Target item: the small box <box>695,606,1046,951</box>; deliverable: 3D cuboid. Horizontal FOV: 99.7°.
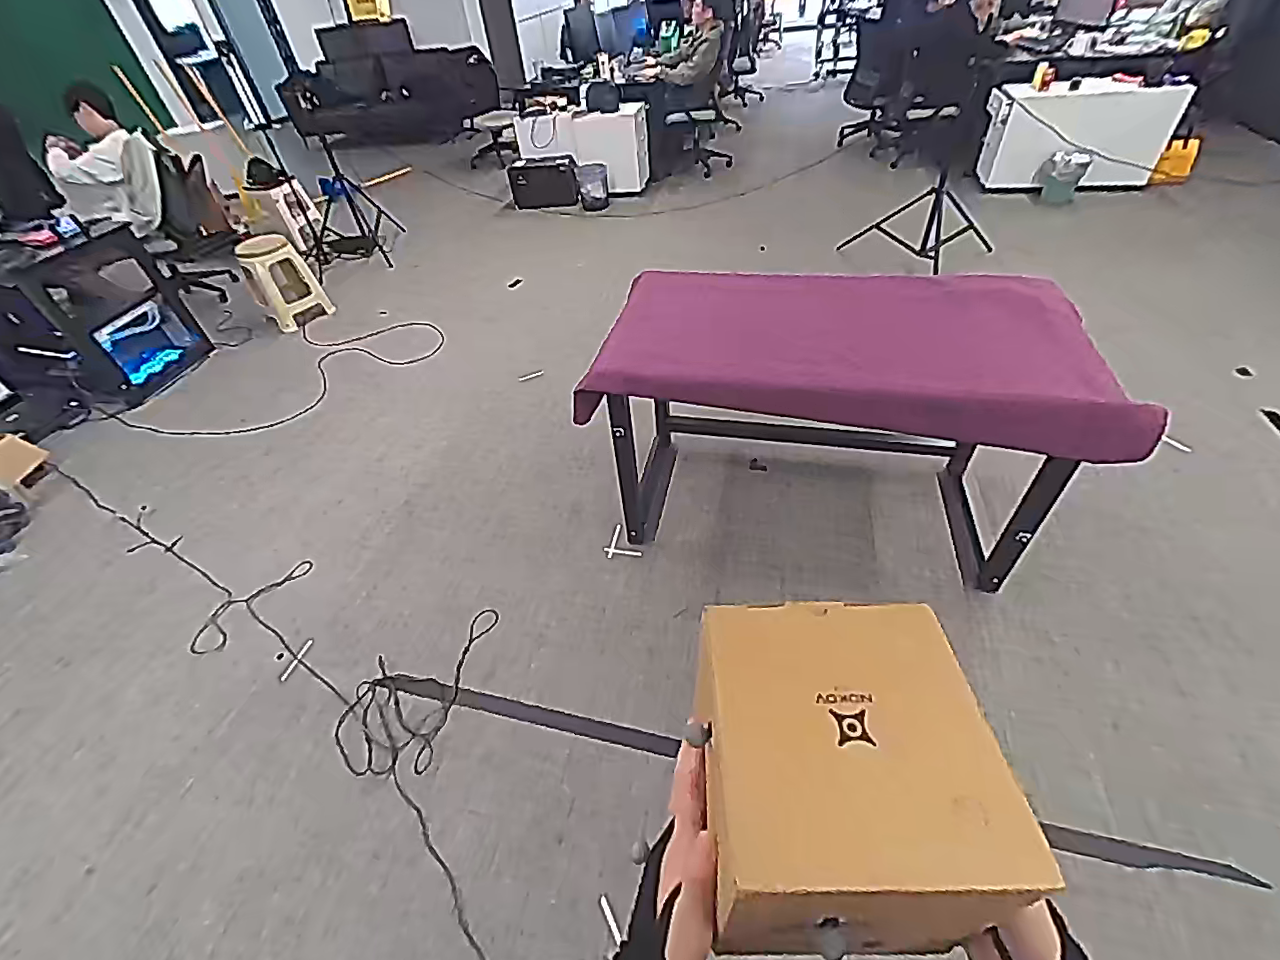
[{"bbox_3d":[0.130,0.214,0.390,0.168,0.176,0.179,-1,39,0],"label":"small box"}]
